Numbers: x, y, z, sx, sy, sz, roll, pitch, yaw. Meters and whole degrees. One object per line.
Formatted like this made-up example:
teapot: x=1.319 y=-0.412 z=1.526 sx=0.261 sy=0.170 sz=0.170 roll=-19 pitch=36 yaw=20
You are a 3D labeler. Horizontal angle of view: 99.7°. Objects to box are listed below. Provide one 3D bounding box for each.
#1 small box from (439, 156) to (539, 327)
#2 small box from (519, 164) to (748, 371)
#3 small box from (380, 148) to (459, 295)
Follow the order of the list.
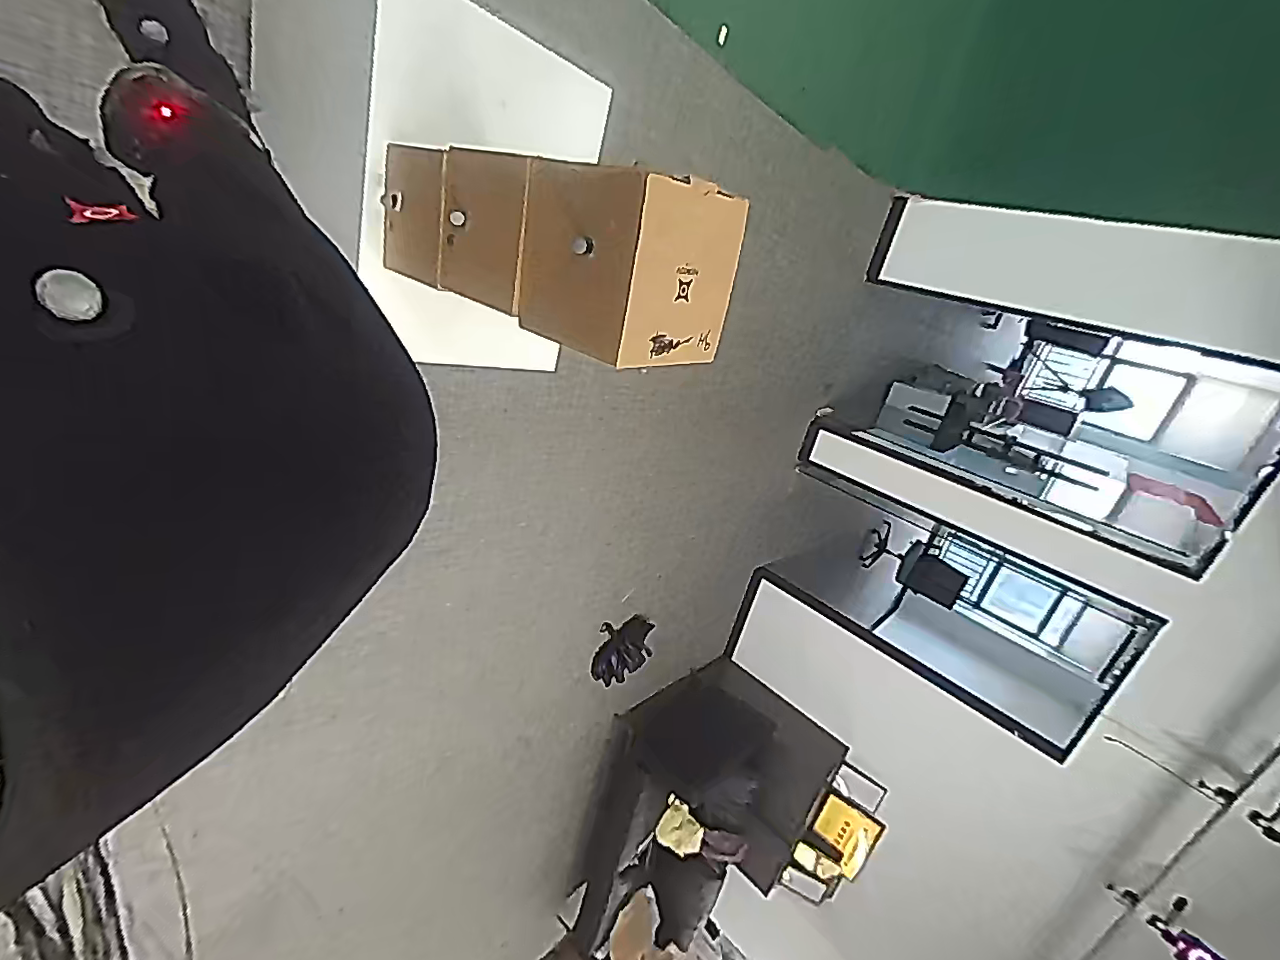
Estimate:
small box: x=-0.128 y=-0.296 z=0.680 sx=0.179 sy=0.176 sz=0.168 roll=-18 pitch=128 yaw=-45
small box: x=-0.014 y=-0.228 z=0.585 sx=0.168 sy=0.176 sz=0.179 roll=-16 pitch=125 yaw=-44
small box: x=-0.248 y=-0.361 z=0.772 sx=0.179 sy=0.176 sz=0.168 roll=-13 pitch=124 yaw=-44
